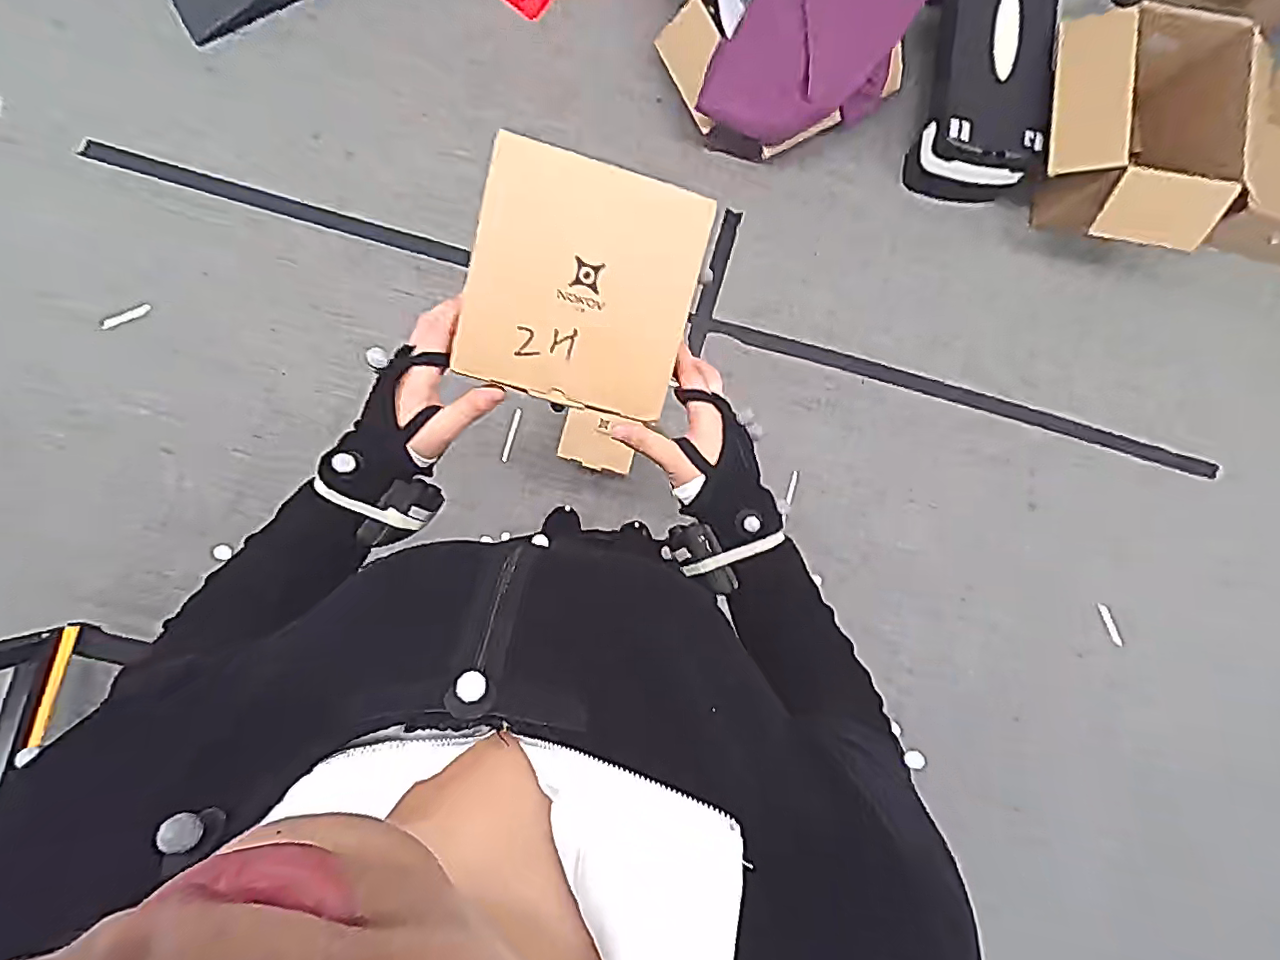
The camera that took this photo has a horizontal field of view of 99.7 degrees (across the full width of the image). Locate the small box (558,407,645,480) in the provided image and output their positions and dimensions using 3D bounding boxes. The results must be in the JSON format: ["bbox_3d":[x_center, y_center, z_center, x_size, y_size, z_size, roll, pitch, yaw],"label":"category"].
[{"bbox_3d":[-0.082,-0.101,1.271,0.168,0.176,0.179,16,88,-1],"label":"small box"}]

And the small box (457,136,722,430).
[{"bbox_3d":[-0.046,-0.154,0.481,0.168,0.176,0.179,14,98,-8],"label":"small box"}]
